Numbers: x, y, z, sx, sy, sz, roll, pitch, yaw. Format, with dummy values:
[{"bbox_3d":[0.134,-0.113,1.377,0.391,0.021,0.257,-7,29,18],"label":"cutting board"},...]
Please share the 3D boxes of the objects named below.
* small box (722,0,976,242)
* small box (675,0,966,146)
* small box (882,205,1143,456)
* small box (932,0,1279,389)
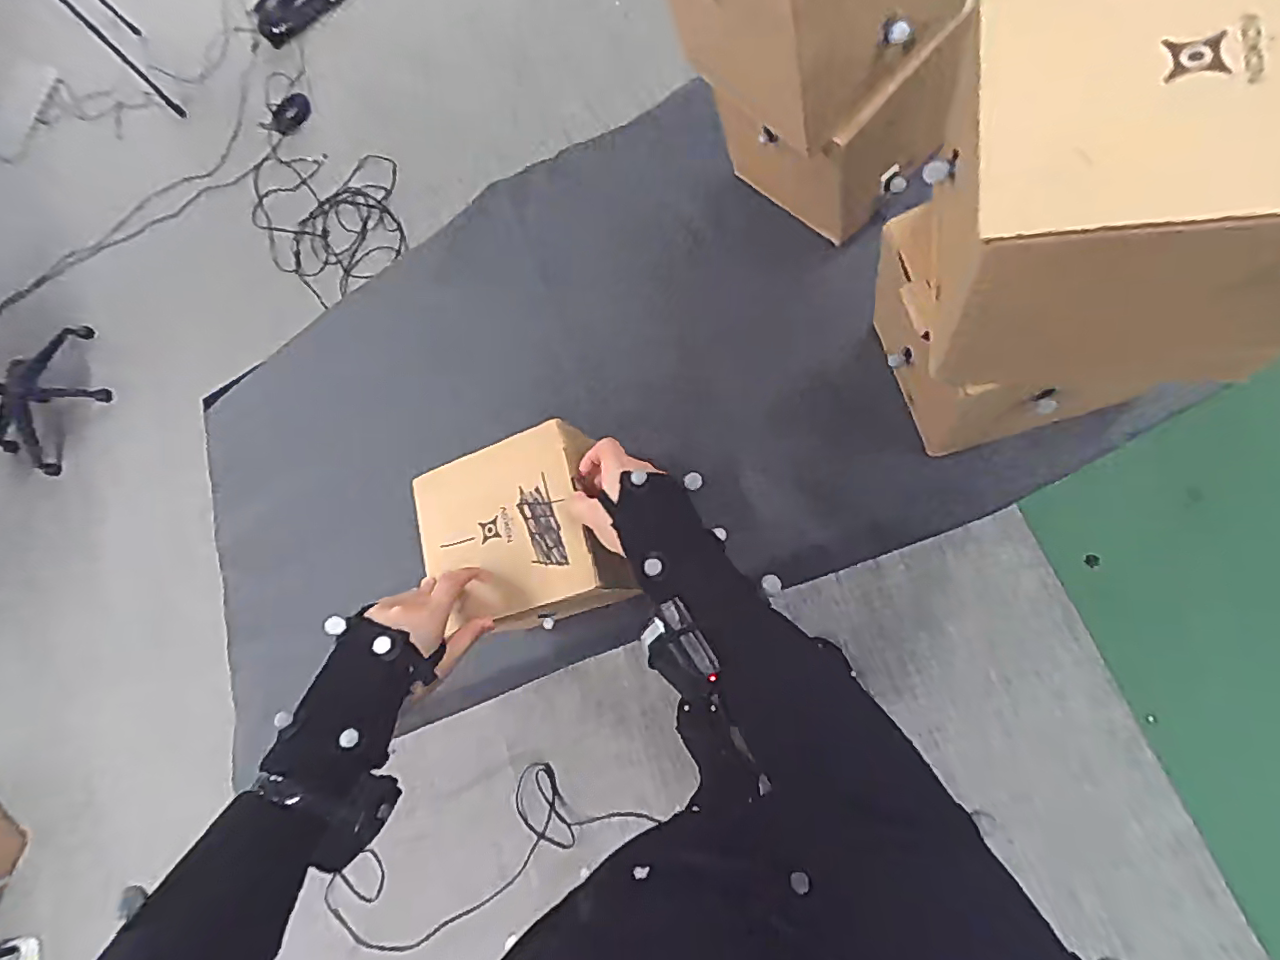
[{"bbox_3d":[0.201,-0.383,0.550,0.168,0.176,0.179,-45,70,9],"label":"small box"},{"bbox_3d":[0.127,-0.400,0.403,0.168,0.176,0.179,-43,70,12],"label":"small box"},{"bbox_3d":[0.321,-0.135,0.458,0.179,0.176,0.168,-19,71,17],"label":"small box"},{"bbox_3d":[0.272,-0.157,0.303,0.179,0.176,0.168,3,78,21],"label":"small box"}]
